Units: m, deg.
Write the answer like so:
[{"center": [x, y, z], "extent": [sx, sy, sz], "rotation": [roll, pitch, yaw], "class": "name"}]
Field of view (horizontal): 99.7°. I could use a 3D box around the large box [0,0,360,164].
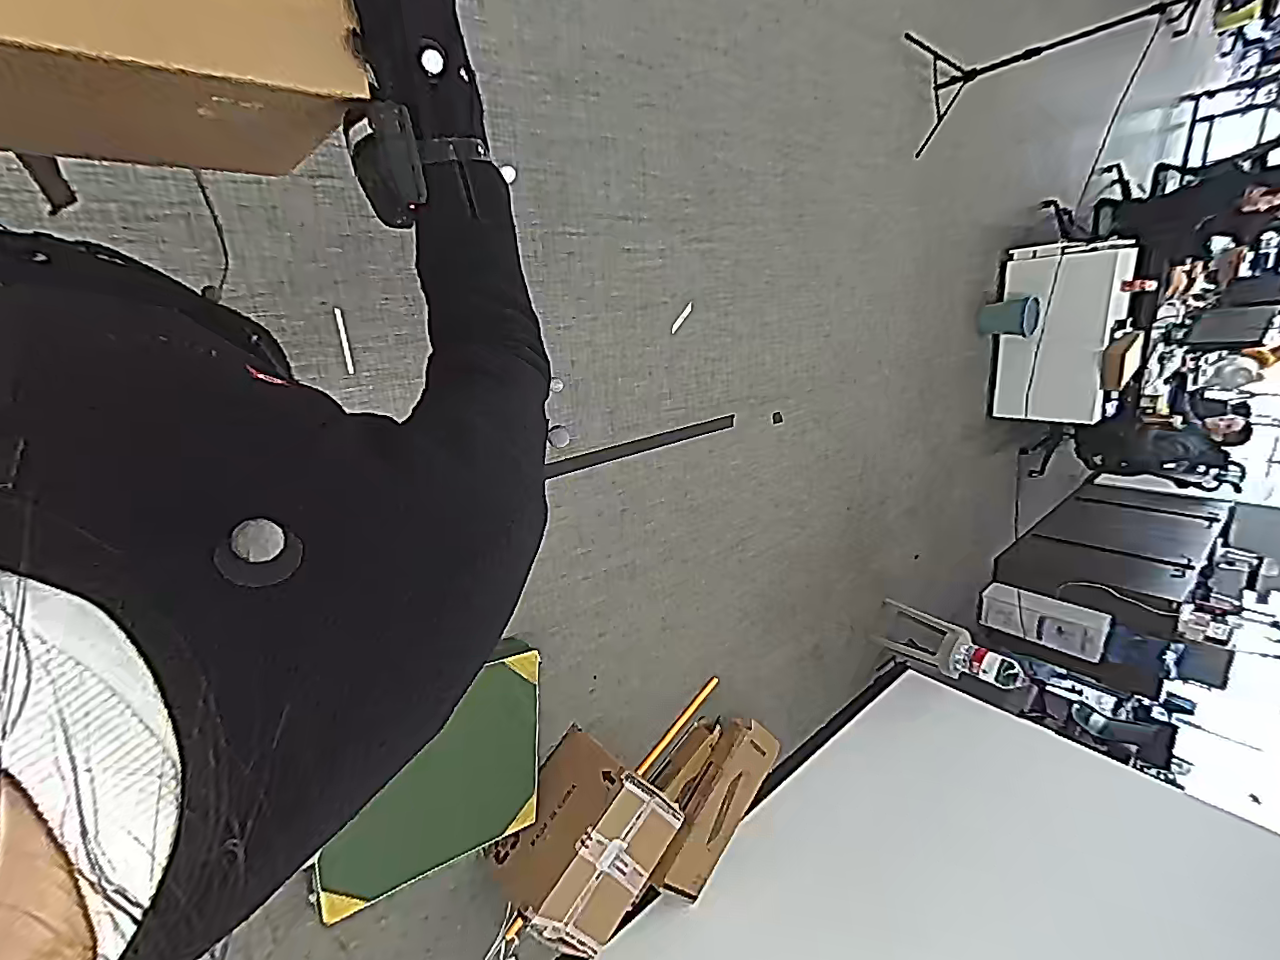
[{"center": [-0.435, -0.381, 0.287], "extent": [0.408, 0.320, 0.320], "rotation": [-18, 118, -38], "class": "large box"}]
